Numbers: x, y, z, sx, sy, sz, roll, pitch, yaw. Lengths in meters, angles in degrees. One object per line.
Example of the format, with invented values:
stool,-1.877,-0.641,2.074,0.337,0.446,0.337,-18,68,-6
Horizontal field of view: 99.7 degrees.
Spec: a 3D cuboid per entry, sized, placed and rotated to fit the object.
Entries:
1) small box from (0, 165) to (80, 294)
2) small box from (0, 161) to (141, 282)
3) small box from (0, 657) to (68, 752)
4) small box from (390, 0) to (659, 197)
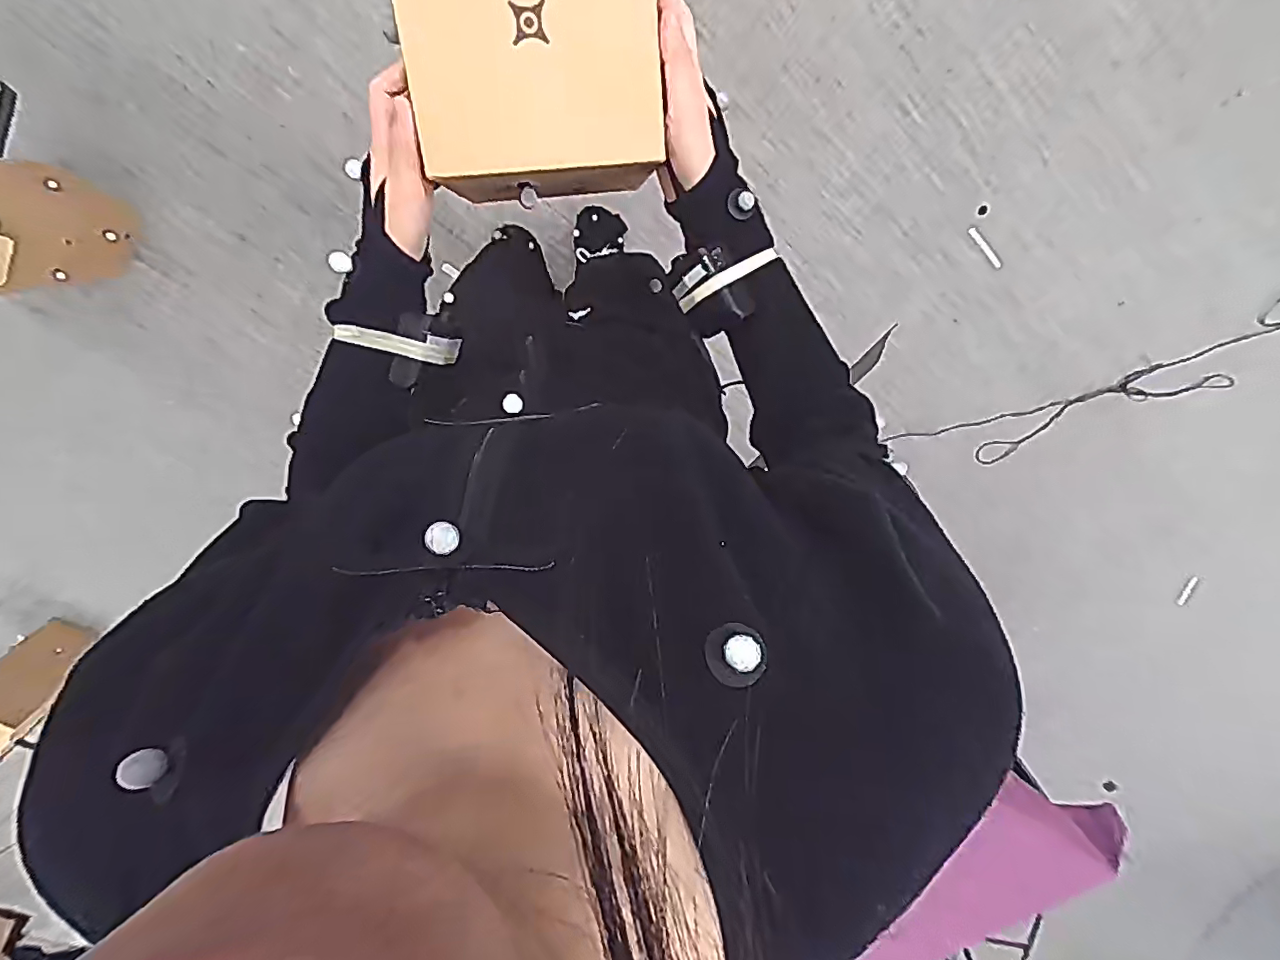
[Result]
small box,-1.223,-0.480,1.011,0.179,0.176,0.168,32,112,-18
small box,-1.236,-0.555,1.157,0.179,0.176,0.168,31,112,-17
small box,-1.866,0.650,1.584,0.179,0.176,0.168,39,110,-22
small box,-0.078,-0.323,0.413,0.168,0.176,0.179,-6,111,-3
